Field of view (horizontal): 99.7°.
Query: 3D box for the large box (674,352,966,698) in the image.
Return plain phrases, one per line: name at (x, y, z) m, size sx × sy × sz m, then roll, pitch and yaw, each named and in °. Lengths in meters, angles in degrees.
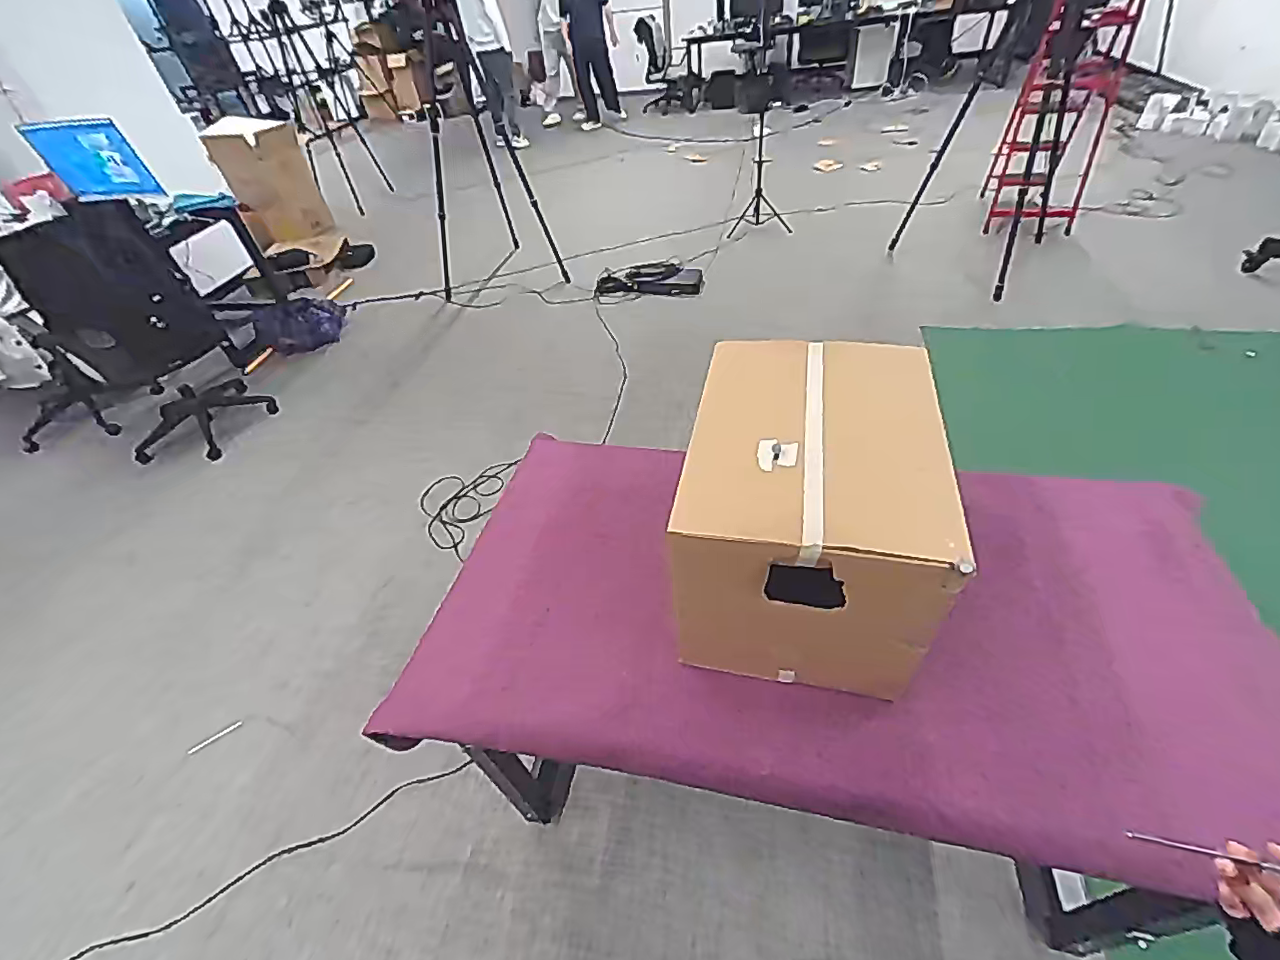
large box at (0.242, 0.051, 0.821) m, size 0.320 × 0.320 × 0.408 m, roll 5°, pitch 47°, yaw 14°
